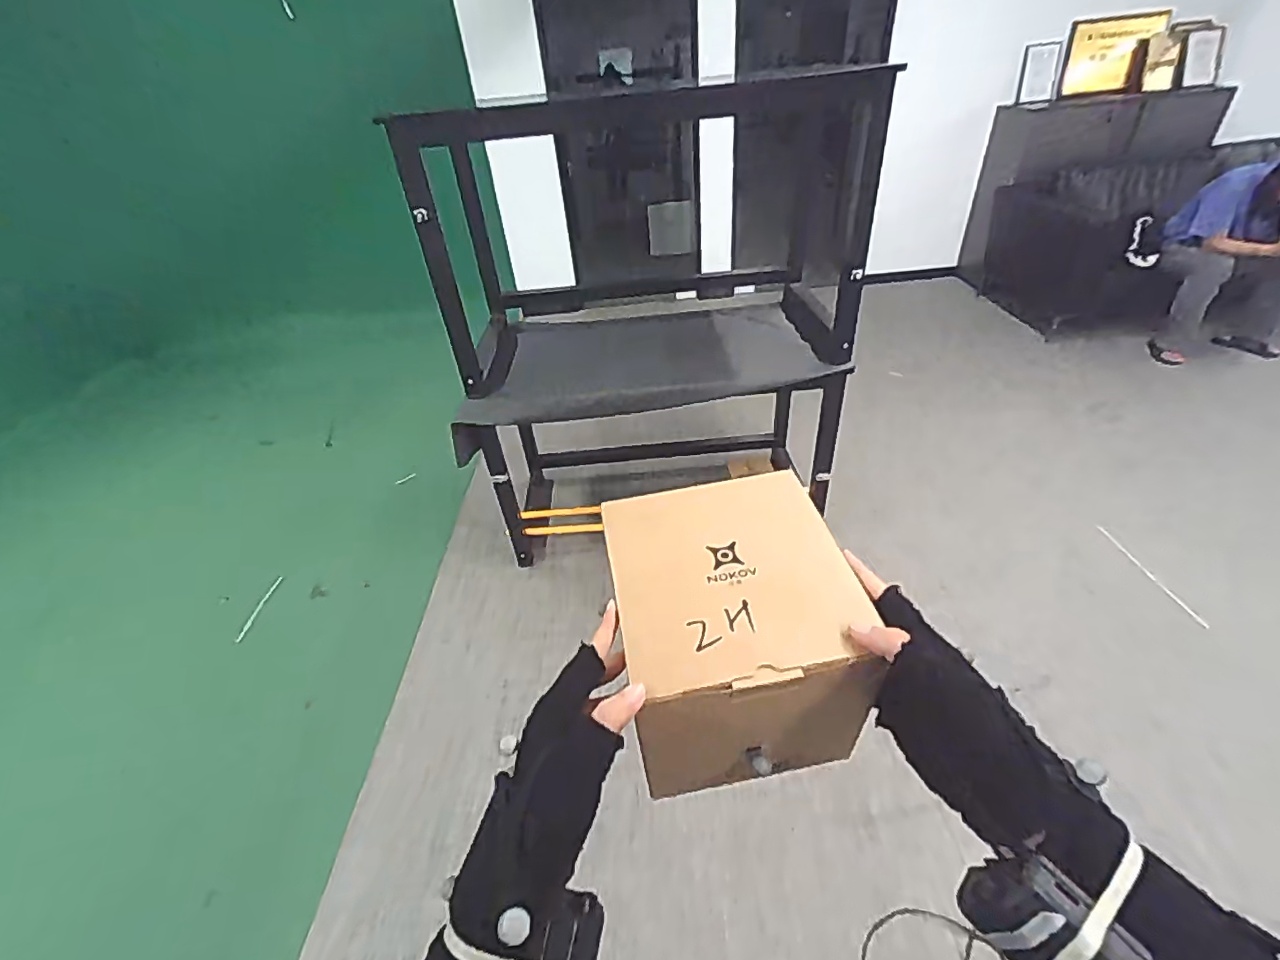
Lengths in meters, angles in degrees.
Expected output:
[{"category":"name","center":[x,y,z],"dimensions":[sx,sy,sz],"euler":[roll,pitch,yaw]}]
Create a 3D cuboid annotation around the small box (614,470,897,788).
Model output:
[{"category":"small box","center":[0.075,0.119,0.446],"dimensions":[0.168,0.176,0.179],"euler":[-10,41,-3]}]
